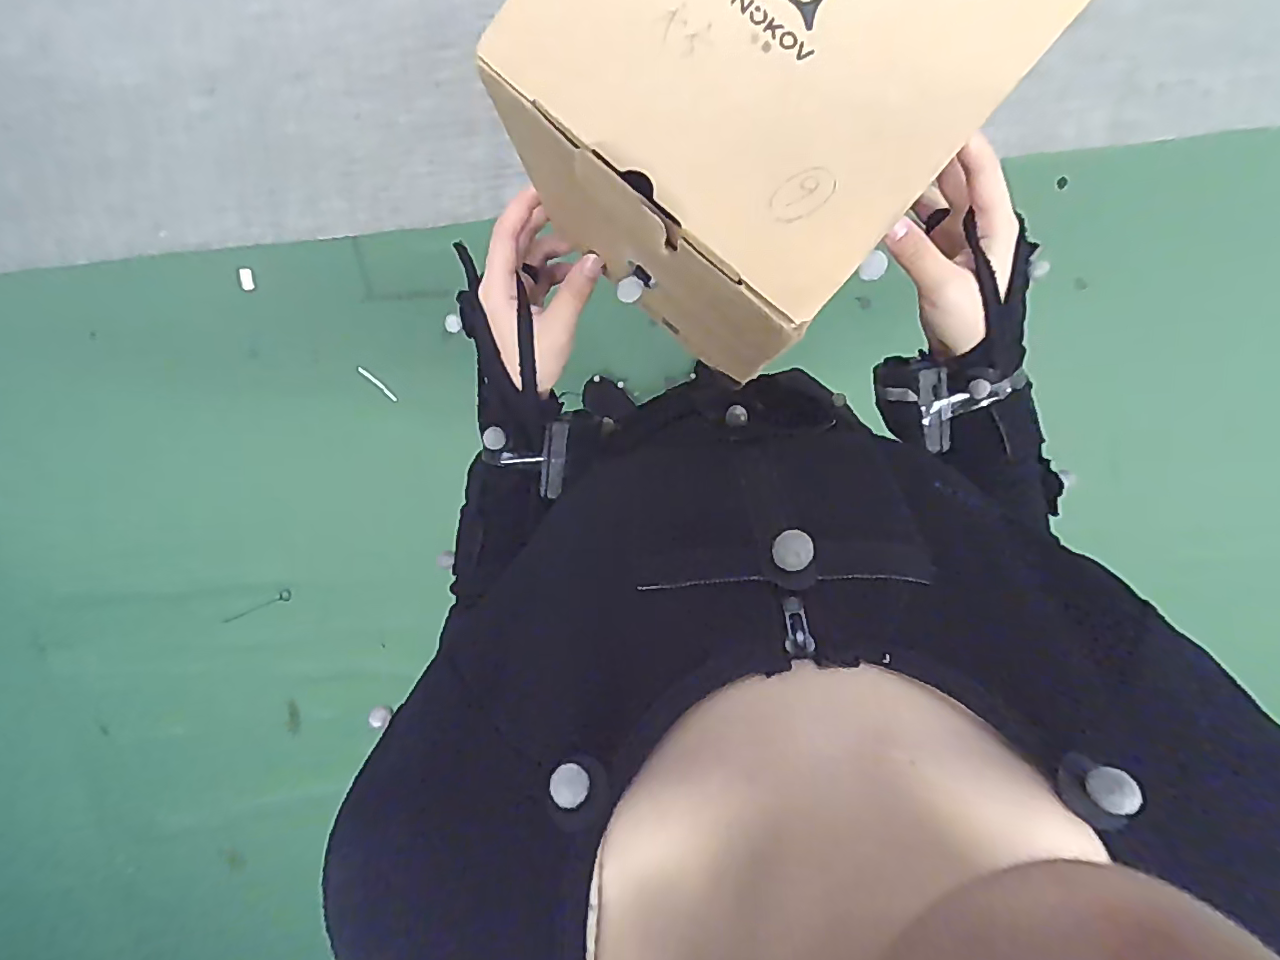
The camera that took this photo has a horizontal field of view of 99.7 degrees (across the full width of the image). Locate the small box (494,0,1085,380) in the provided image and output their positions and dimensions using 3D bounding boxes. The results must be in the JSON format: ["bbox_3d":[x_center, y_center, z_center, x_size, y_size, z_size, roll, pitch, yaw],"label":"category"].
[{"bbox_3d":[0.060,-0.175,0.292,0.168,0.176,0.179,41,94,0],"label":"small box"}]
